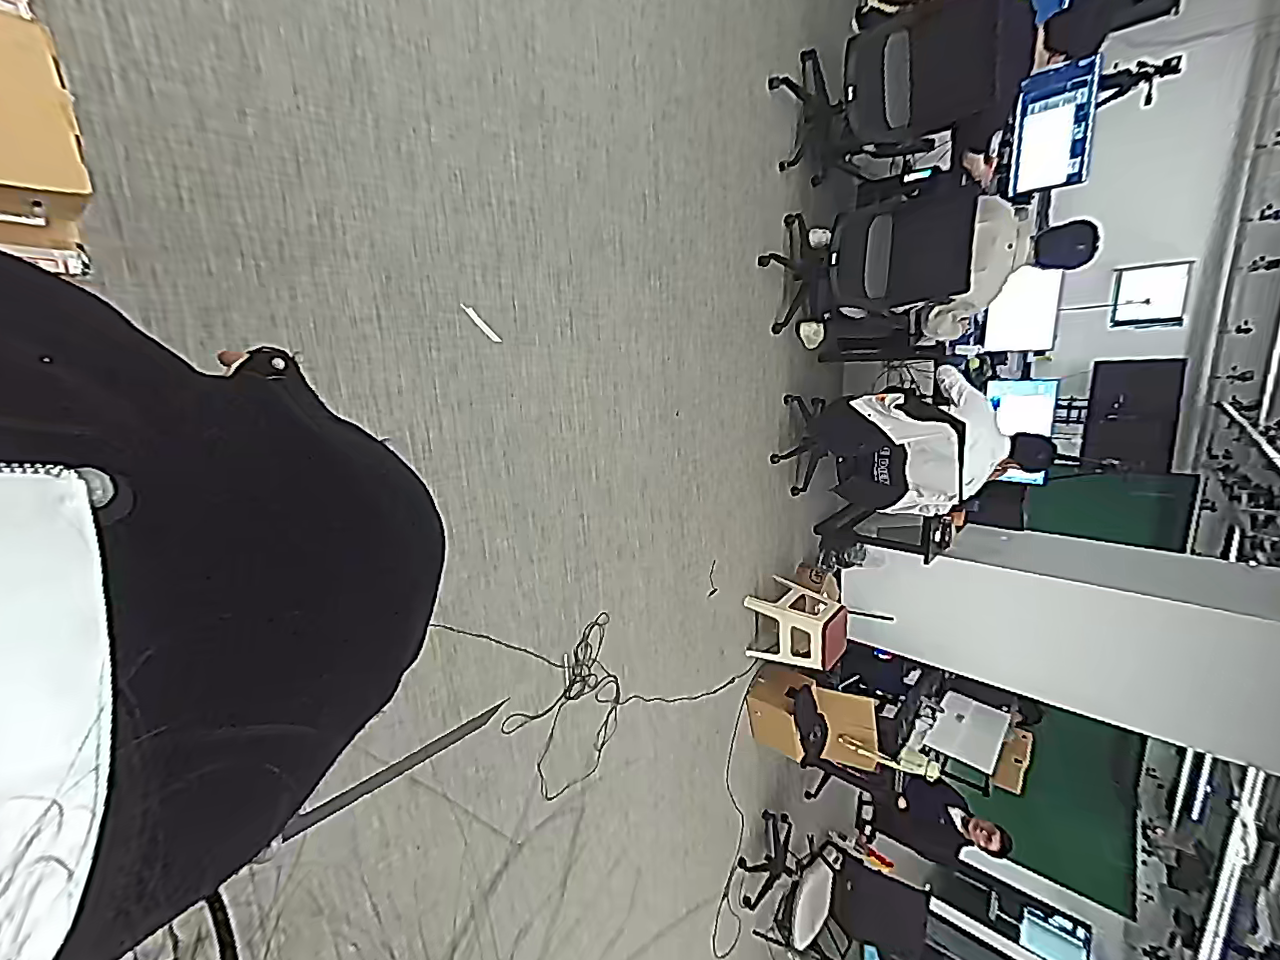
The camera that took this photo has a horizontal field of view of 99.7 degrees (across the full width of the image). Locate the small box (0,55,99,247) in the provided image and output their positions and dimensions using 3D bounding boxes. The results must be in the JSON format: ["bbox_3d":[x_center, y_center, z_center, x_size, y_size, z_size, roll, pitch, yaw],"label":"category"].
[{"bbox_3d":[-0.740,-0.355,0.585,0.179,0.176,0.168,-20,113,-46],"label":"small box"}]
